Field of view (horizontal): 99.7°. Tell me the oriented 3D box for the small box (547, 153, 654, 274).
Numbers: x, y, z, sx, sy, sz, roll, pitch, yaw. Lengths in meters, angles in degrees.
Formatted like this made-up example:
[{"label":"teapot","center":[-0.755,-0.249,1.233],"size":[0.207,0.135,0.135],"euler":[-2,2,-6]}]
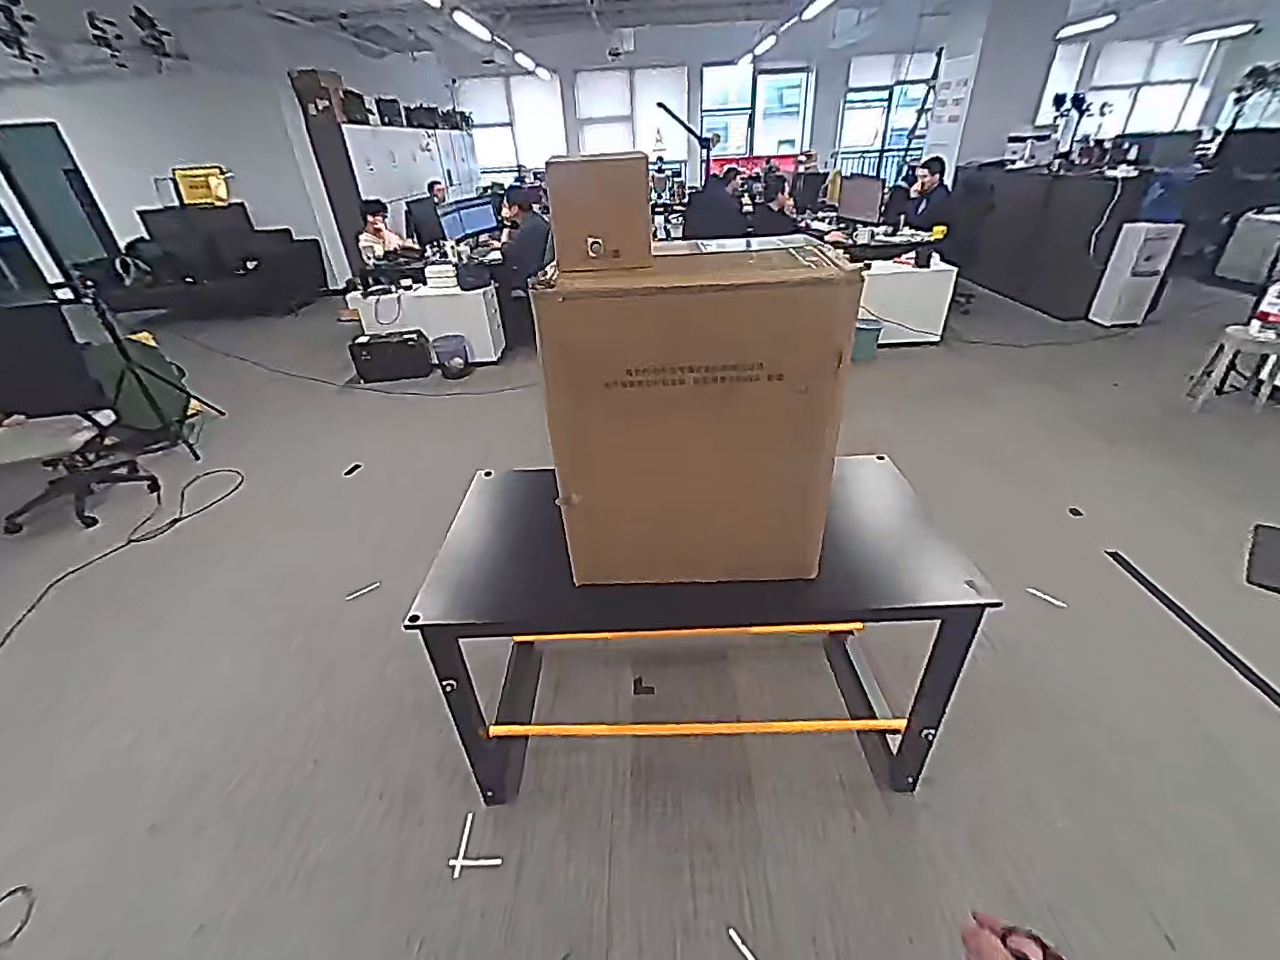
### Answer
[{"label":"small box","center":[-0.067,-0.469,0.949],"size":[0.168,0.176,0.179],"euler":[-6,34,-3]}]
